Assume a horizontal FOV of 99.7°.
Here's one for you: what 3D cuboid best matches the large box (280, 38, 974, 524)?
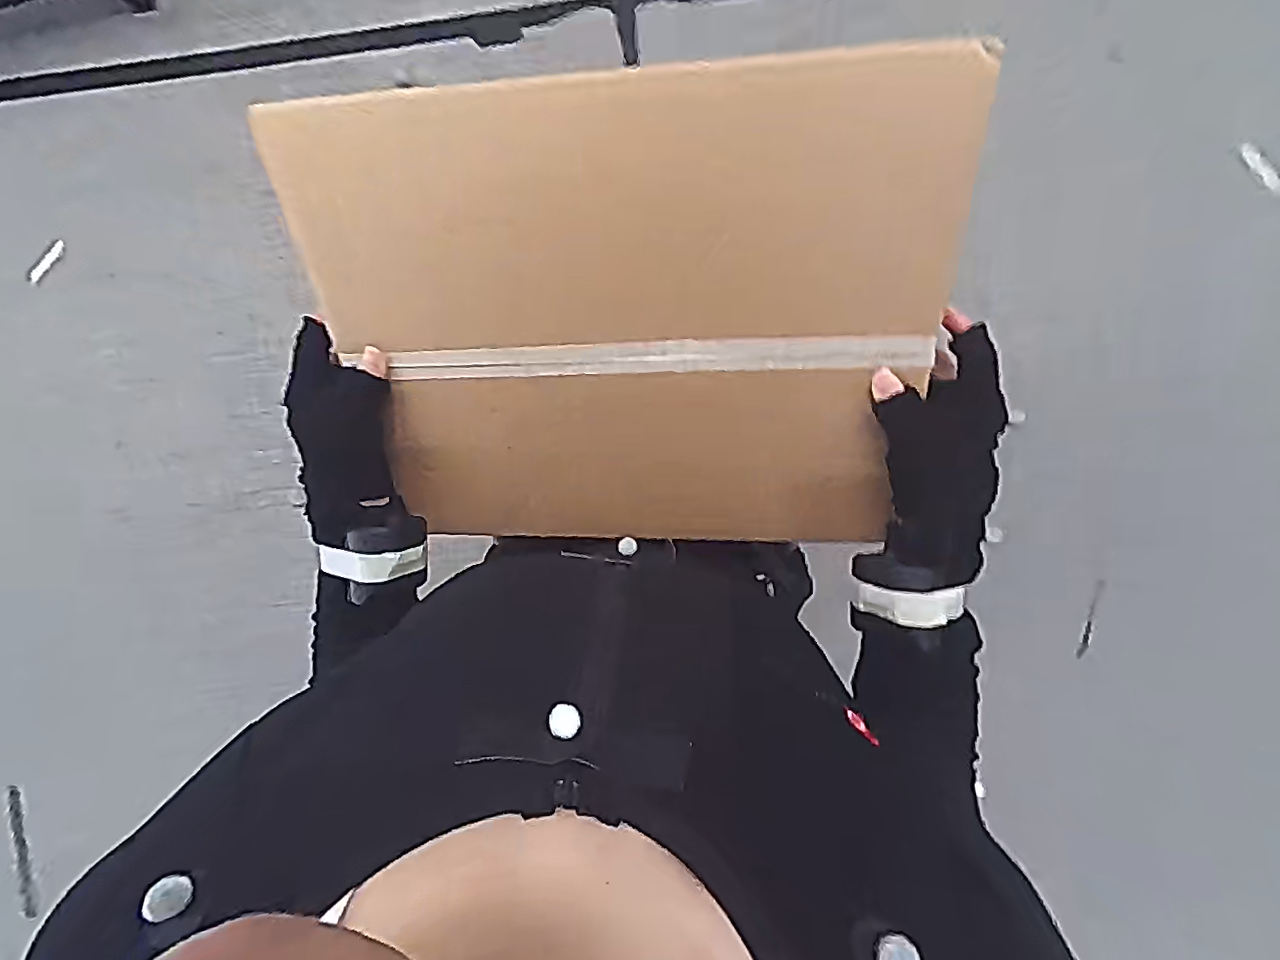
[{"bbox_3d":[0.001,-0.172,0.503,0.408,0.320,0.320,0,124,8],"label":"large box"}]
